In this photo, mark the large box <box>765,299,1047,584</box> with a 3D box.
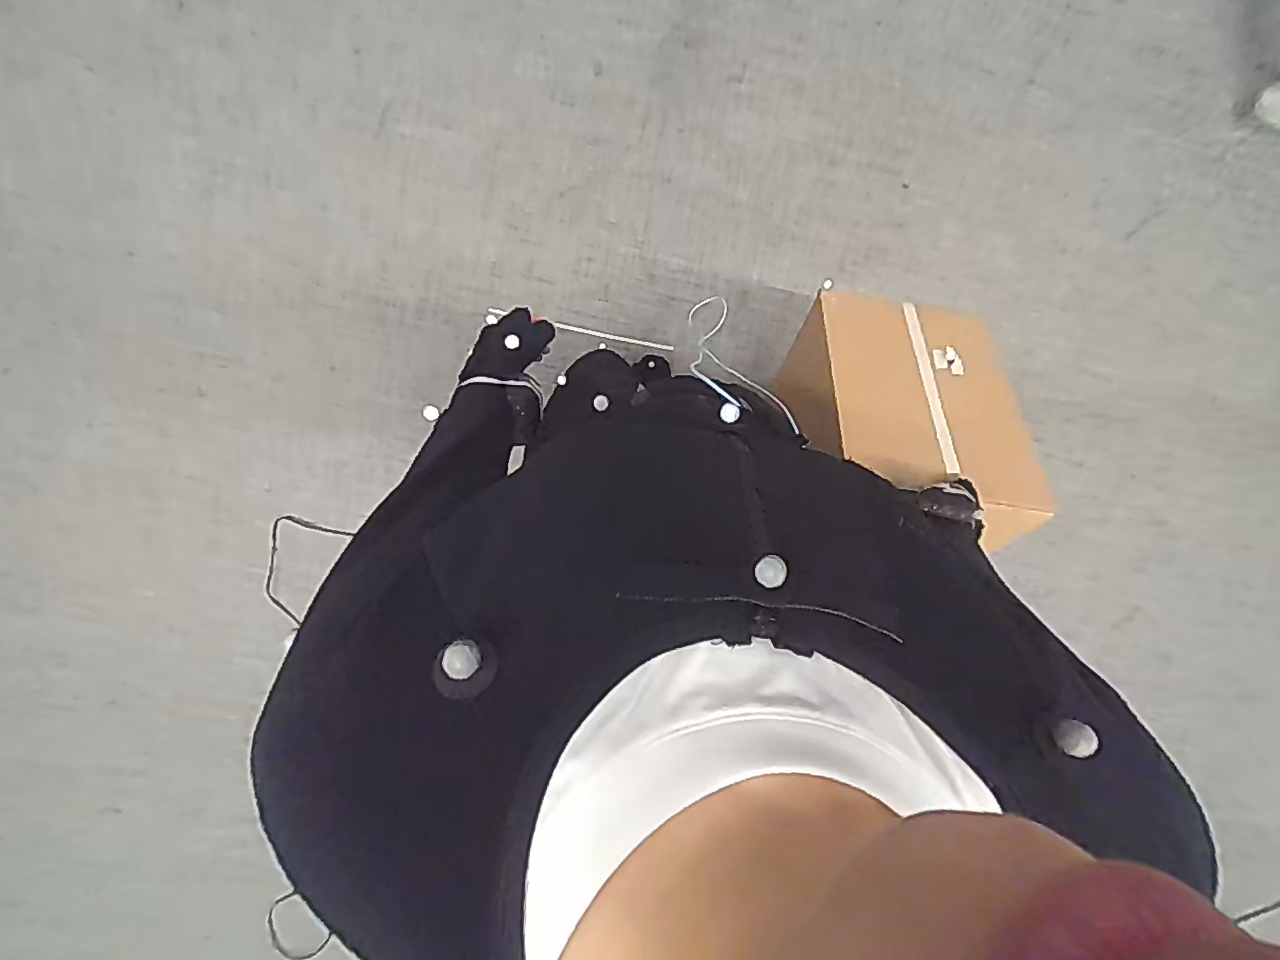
[{"bbox_3d":[0.431,-0.059,0.994,0.320,0.320,0.408,8,58,-5],"label":"large box"}]
